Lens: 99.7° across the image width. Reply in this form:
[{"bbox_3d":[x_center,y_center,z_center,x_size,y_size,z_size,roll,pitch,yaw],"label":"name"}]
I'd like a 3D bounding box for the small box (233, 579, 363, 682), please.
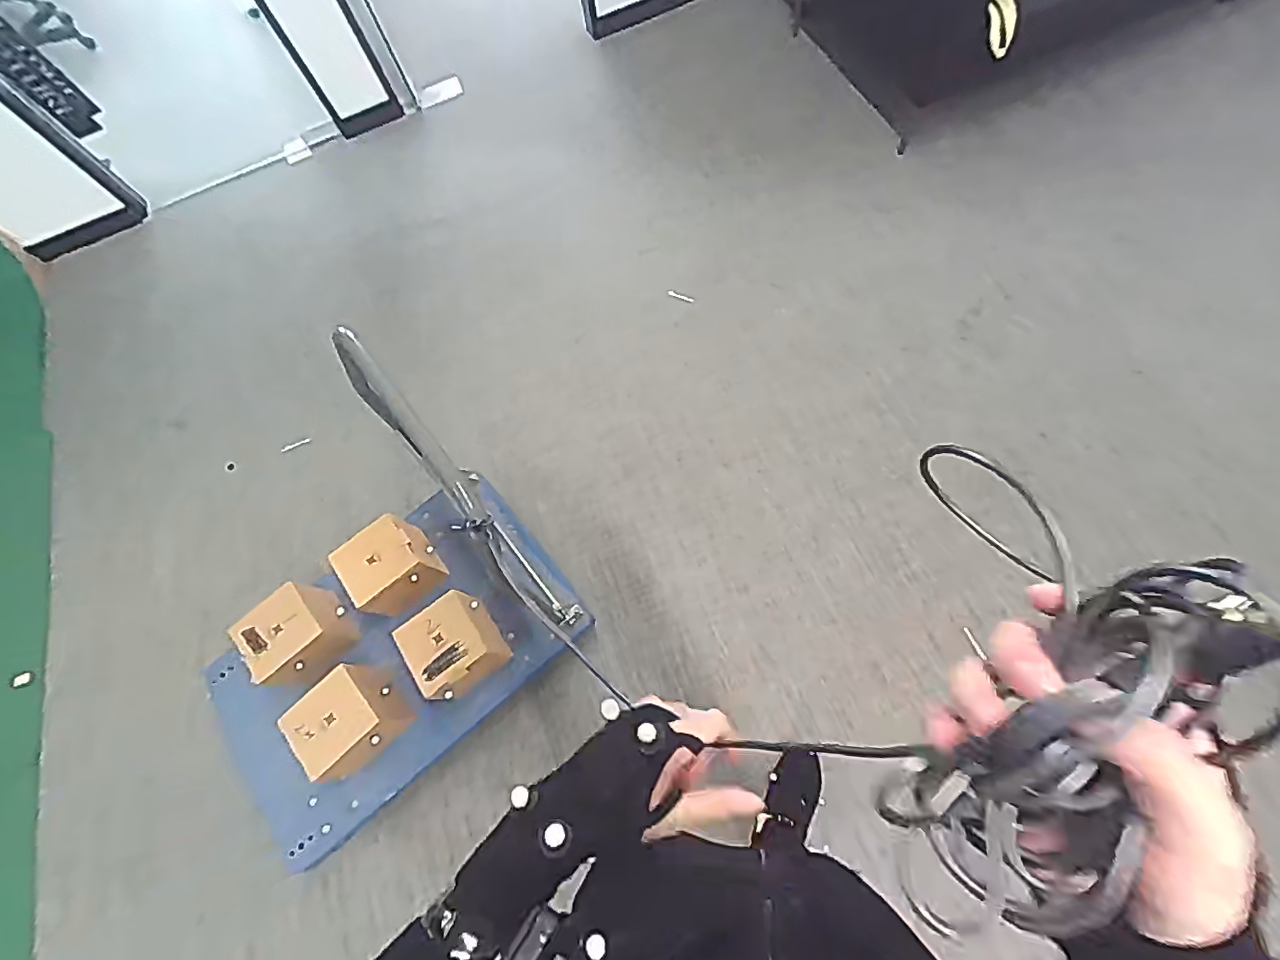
[{"bbox_3d":[-0.828,0.375,1.324,0.179,0.176,0.168,-41,70,-10],"label":"small box"}]

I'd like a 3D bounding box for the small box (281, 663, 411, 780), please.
[{"bbox_3d":[-0.656,0.545,1.236,0.179,0.176,0.168,-43,69,-10],"label":"small box"}]

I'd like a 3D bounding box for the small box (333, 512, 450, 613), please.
[{"bbox_3d":[-0.620,0.216,1.364,0.179,0.176,0.168,-38,69,-9],"label":"small box"}]
